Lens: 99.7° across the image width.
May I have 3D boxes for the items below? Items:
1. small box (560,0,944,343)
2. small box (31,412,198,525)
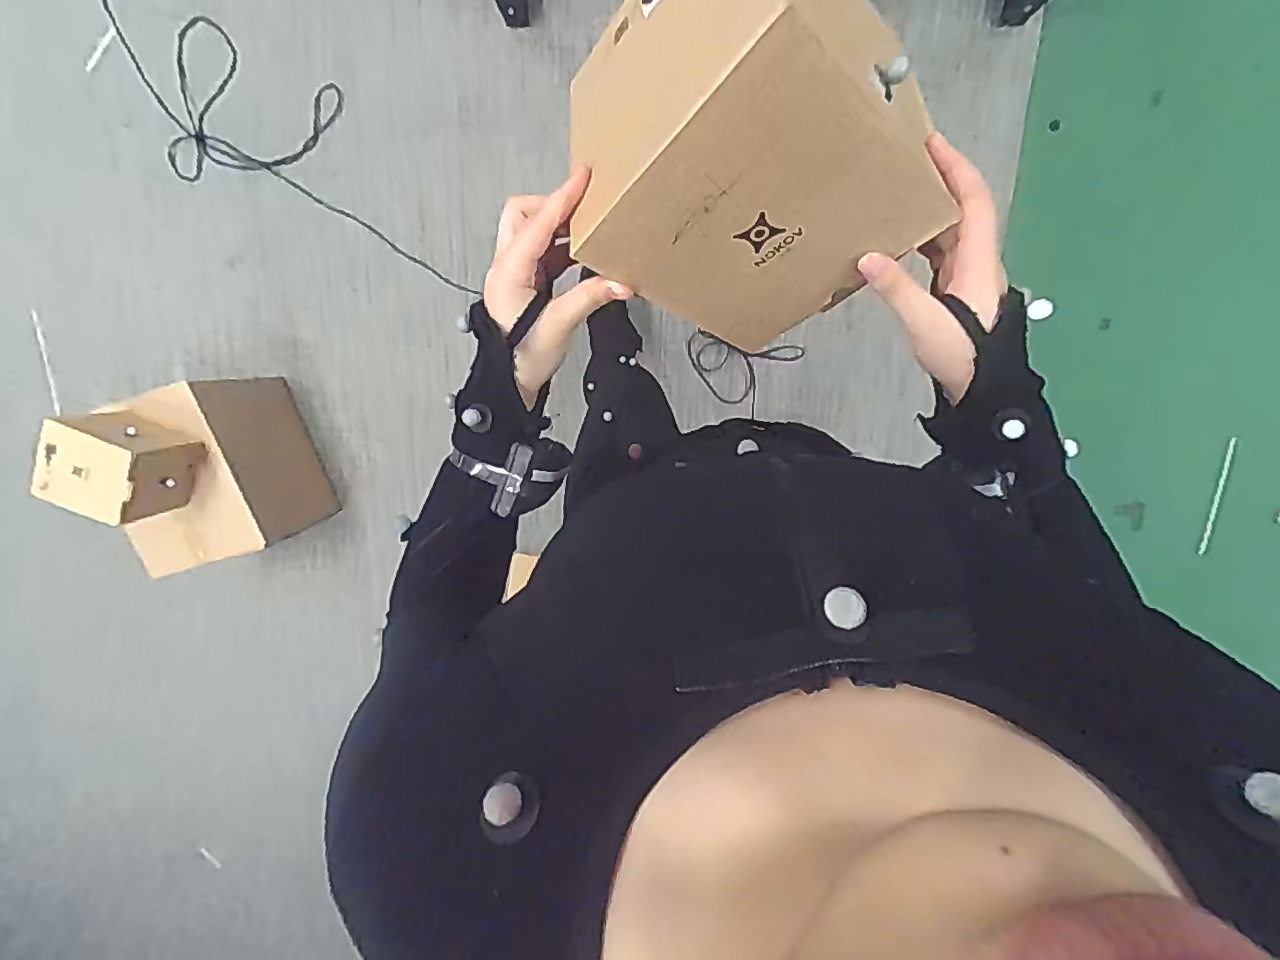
[{"bbox_3d":[0.063,-0.228,0.360,0.179,0.168,0.176,15,61,-34],"label":"small box"},{"bbox_3d":[-1.078,-0.033,1.124,0.179,0.176,0.168,23,102,-5],"label":"small box"}]
